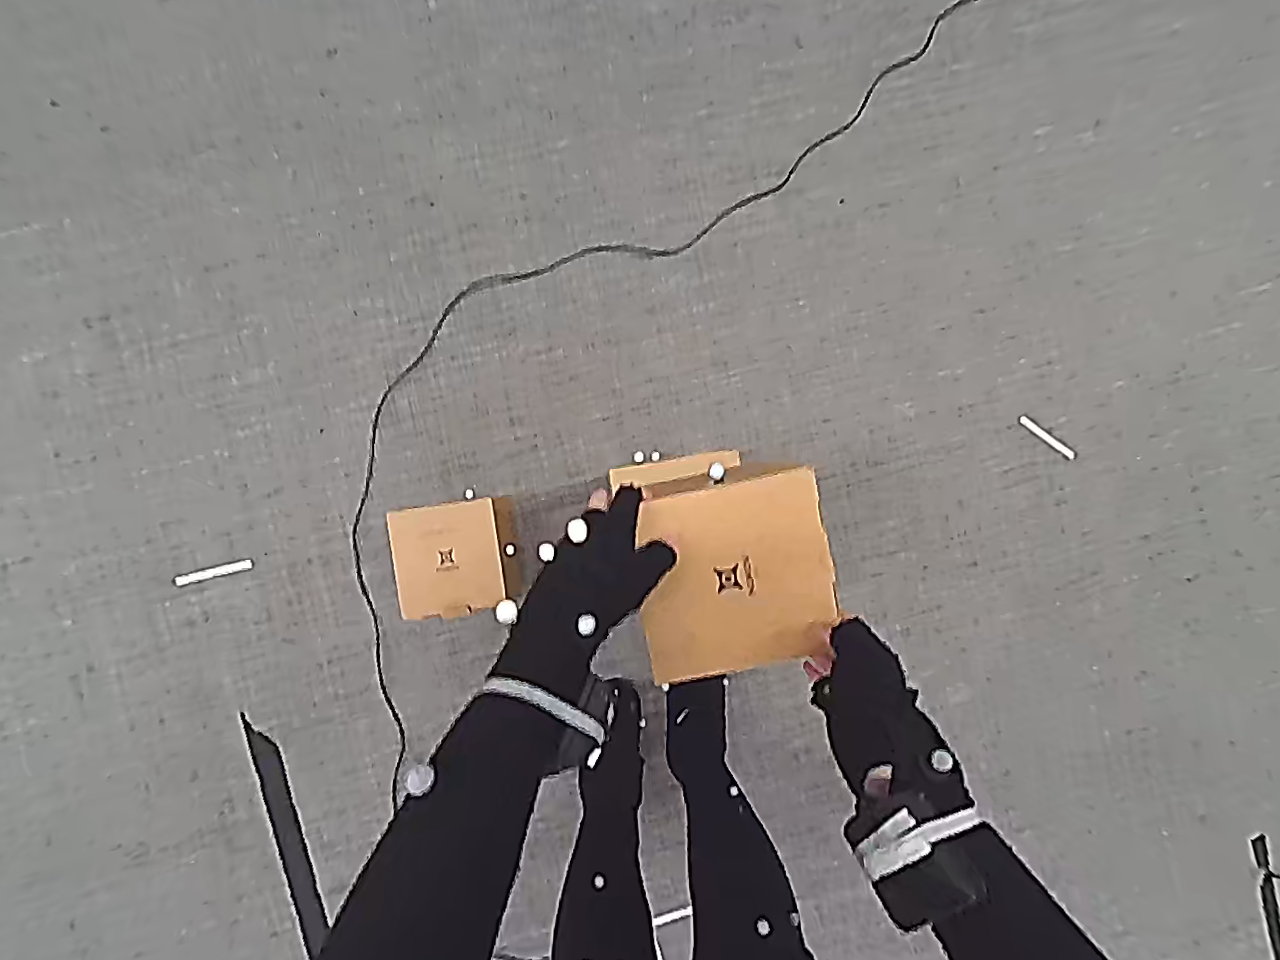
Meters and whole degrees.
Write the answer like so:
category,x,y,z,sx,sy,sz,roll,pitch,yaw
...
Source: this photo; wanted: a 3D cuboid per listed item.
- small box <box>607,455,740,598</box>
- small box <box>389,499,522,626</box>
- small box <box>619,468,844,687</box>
category,x,y,z,sx,sy,sz,roll,pitch,yaw
small box,0.050,0.060,0.781,0.179,0.176,0.168,-9,92,-4
small box,-0.305,0.133,0.927,0.168,0.176,0.179,-8,91,-4
small box,0.082,0.085,0.555,0.179,0.176,0.168,-12,94,0
